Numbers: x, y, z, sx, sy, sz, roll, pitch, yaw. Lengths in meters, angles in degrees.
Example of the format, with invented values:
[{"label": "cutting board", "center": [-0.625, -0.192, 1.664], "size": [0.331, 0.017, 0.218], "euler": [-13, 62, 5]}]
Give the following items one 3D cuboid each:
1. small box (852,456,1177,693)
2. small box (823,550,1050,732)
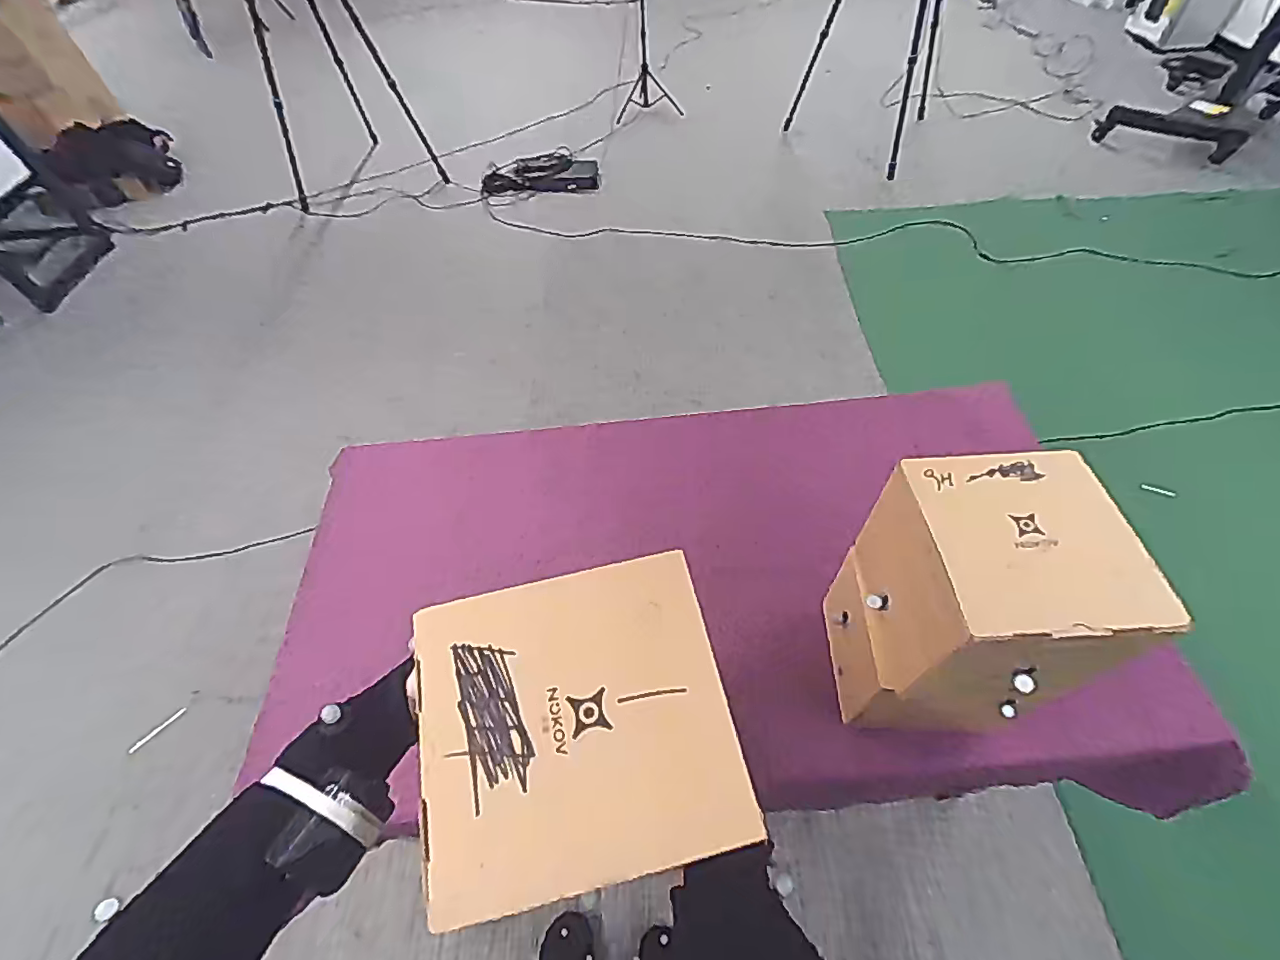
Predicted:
[{"label": "small box", "center": [0.323, 0.098, 0.518], "size": [0.168, 0.176, 0.179], "euler": [-3, 54, 1]}, {"label": "small box", "center": [0.329, 0.196, 0.650], "size": [0.179, 0.176, 0.168], "euler": [0, 54, 4]}]
